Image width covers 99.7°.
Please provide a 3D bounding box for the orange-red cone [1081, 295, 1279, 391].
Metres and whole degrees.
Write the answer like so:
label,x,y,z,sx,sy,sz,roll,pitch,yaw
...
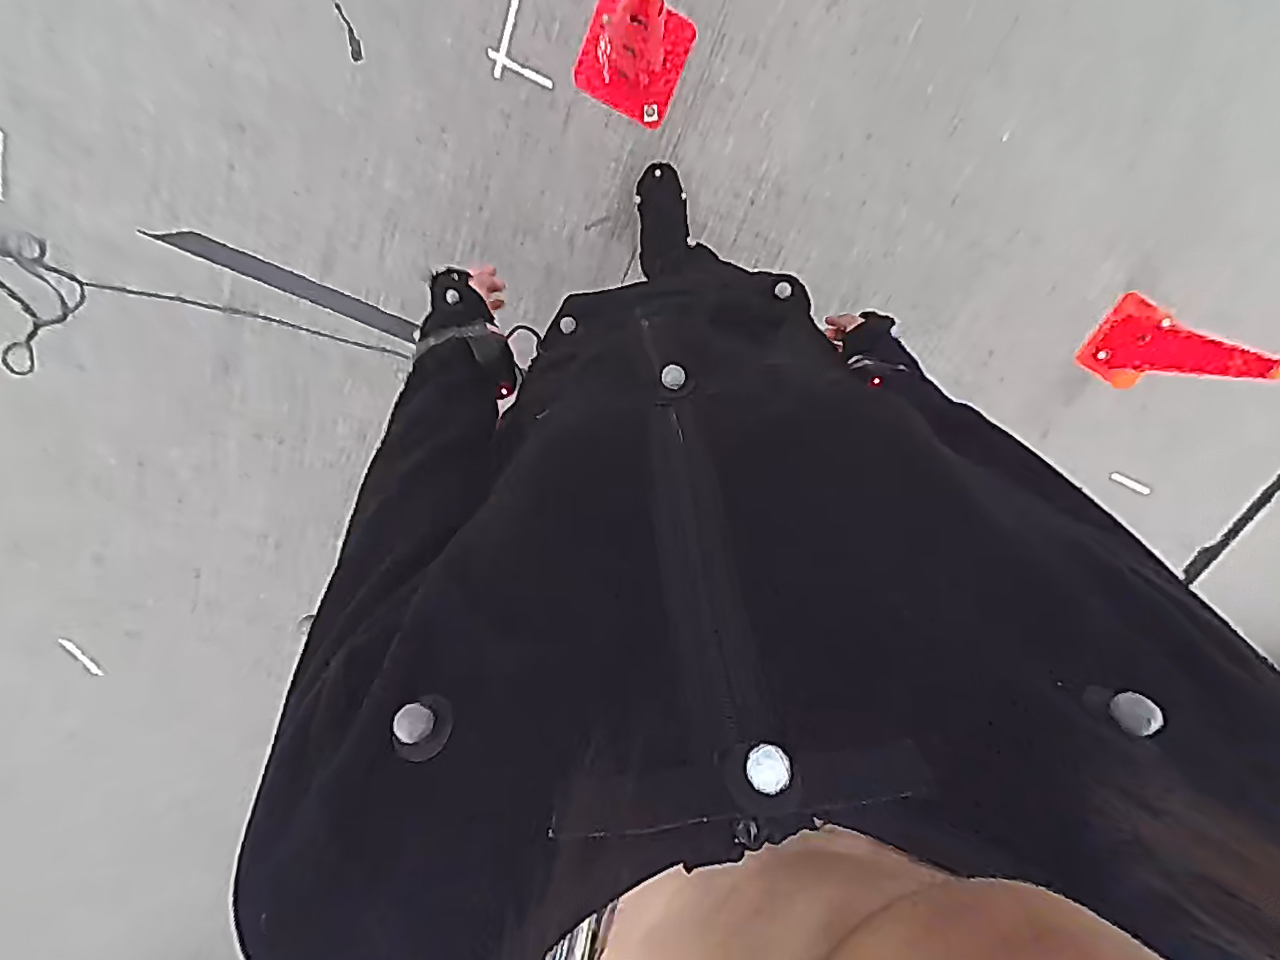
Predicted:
label,x,y,z,sx,sy,sz,roll,pitch,yaw
orange-red cone,1.279,-0.282,1.241,0.199,0.360,0.198,24,110,-15
